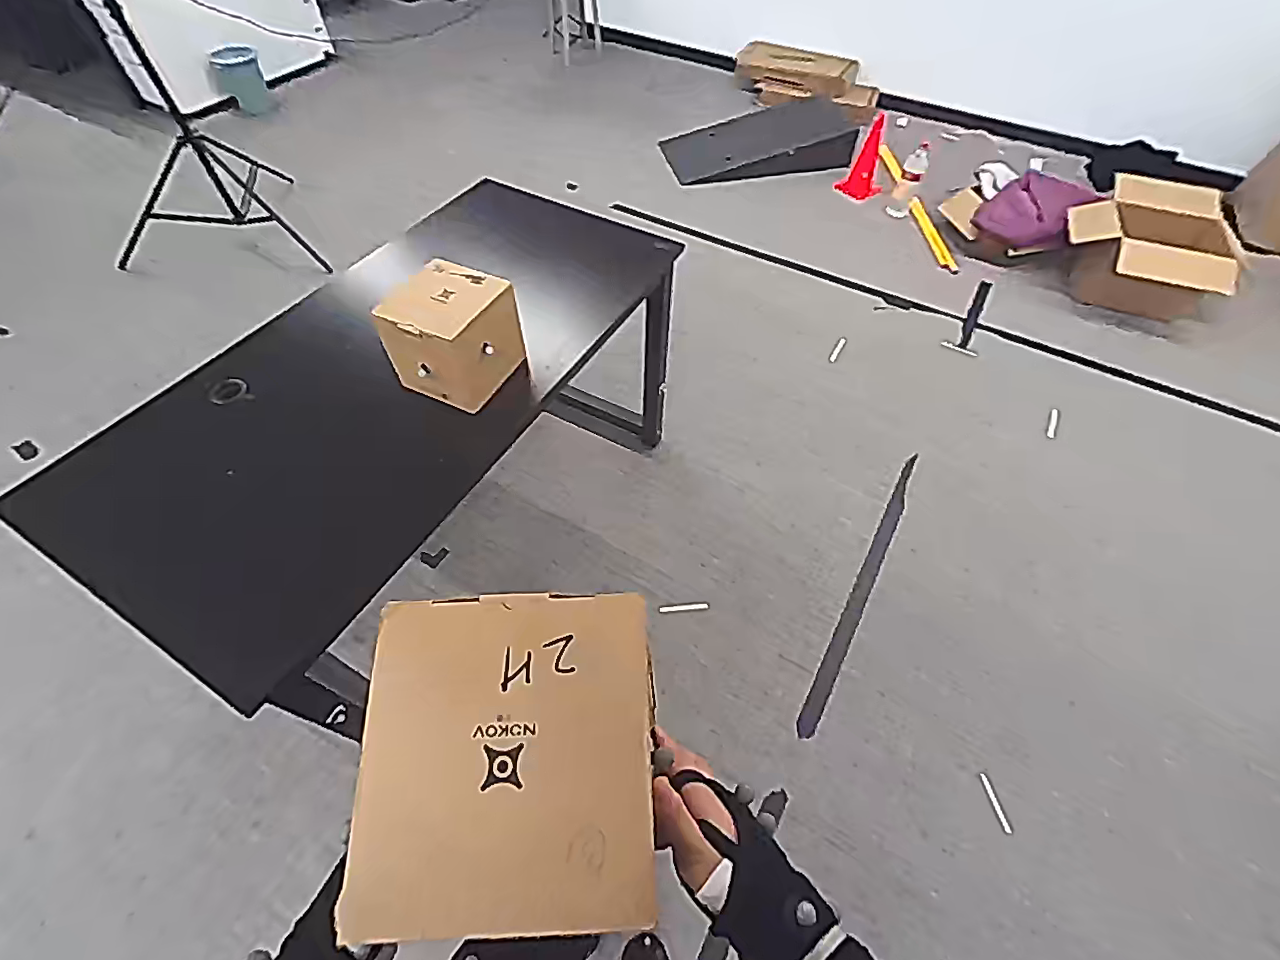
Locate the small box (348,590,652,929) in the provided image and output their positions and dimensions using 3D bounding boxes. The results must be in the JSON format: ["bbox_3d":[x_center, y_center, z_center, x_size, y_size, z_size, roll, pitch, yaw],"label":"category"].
[{"bbox_3d":[-0.075,0.183,0.389,0.168,0.176,0.179,-2,67,-1],"label":"small box"}]

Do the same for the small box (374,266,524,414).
[{"bbox_3d":[-0.328,-0.247,0.973,0.168,0.176,0.179,22,58,14],"label":"small box"}]
